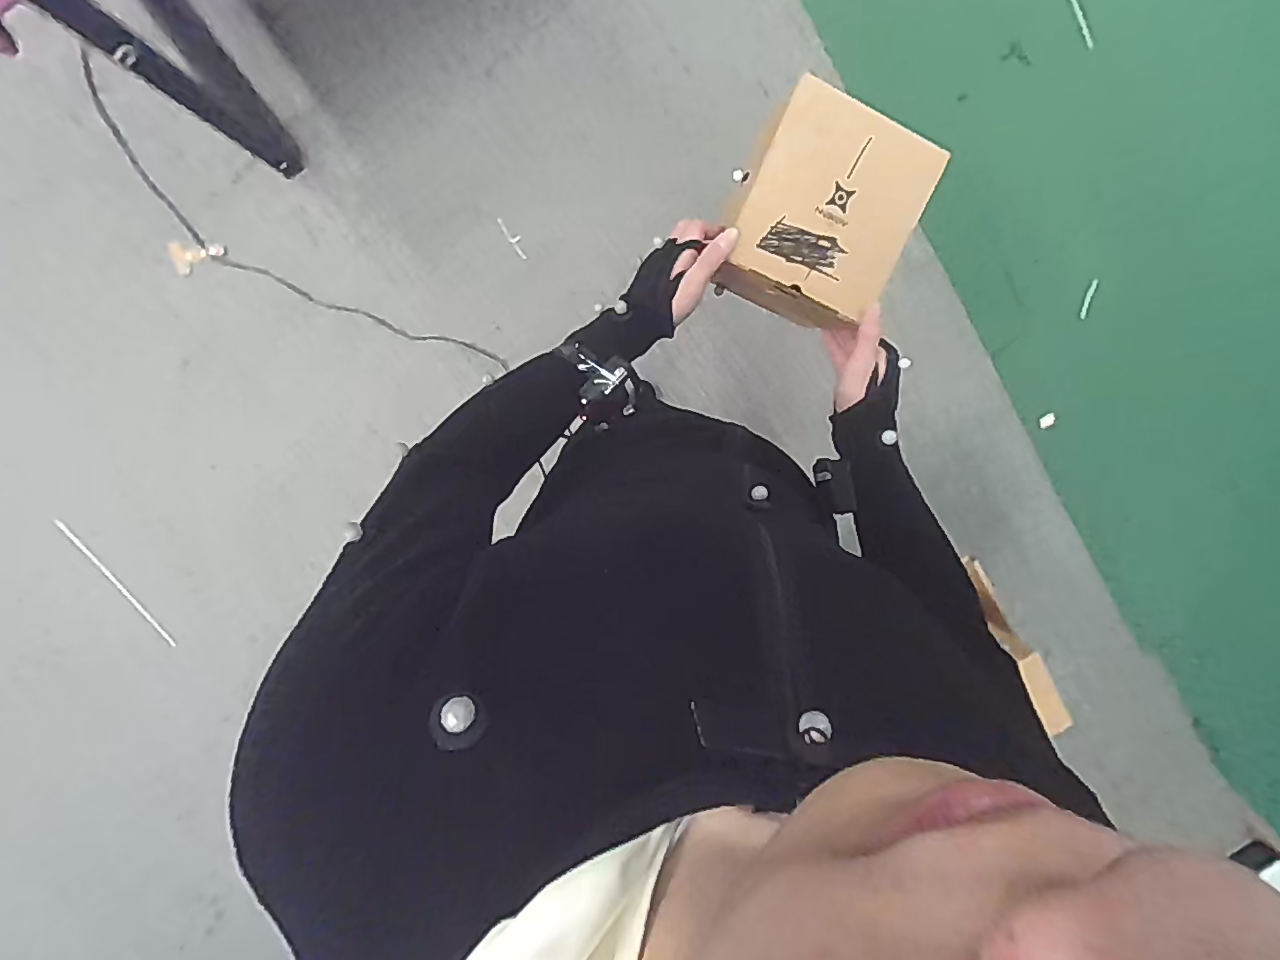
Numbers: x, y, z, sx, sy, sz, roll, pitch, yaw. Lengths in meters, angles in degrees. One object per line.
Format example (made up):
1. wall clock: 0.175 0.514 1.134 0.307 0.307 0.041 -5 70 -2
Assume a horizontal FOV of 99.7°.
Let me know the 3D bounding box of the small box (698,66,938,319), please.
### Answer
1. small box: 0.174 -0.289 0.596 0.168 0.176 0.179 21 102 -9

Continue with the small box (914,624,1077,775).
1. small box: 0.678 0.415 1.049 0.168 0.176 0.179 -31 99 0
